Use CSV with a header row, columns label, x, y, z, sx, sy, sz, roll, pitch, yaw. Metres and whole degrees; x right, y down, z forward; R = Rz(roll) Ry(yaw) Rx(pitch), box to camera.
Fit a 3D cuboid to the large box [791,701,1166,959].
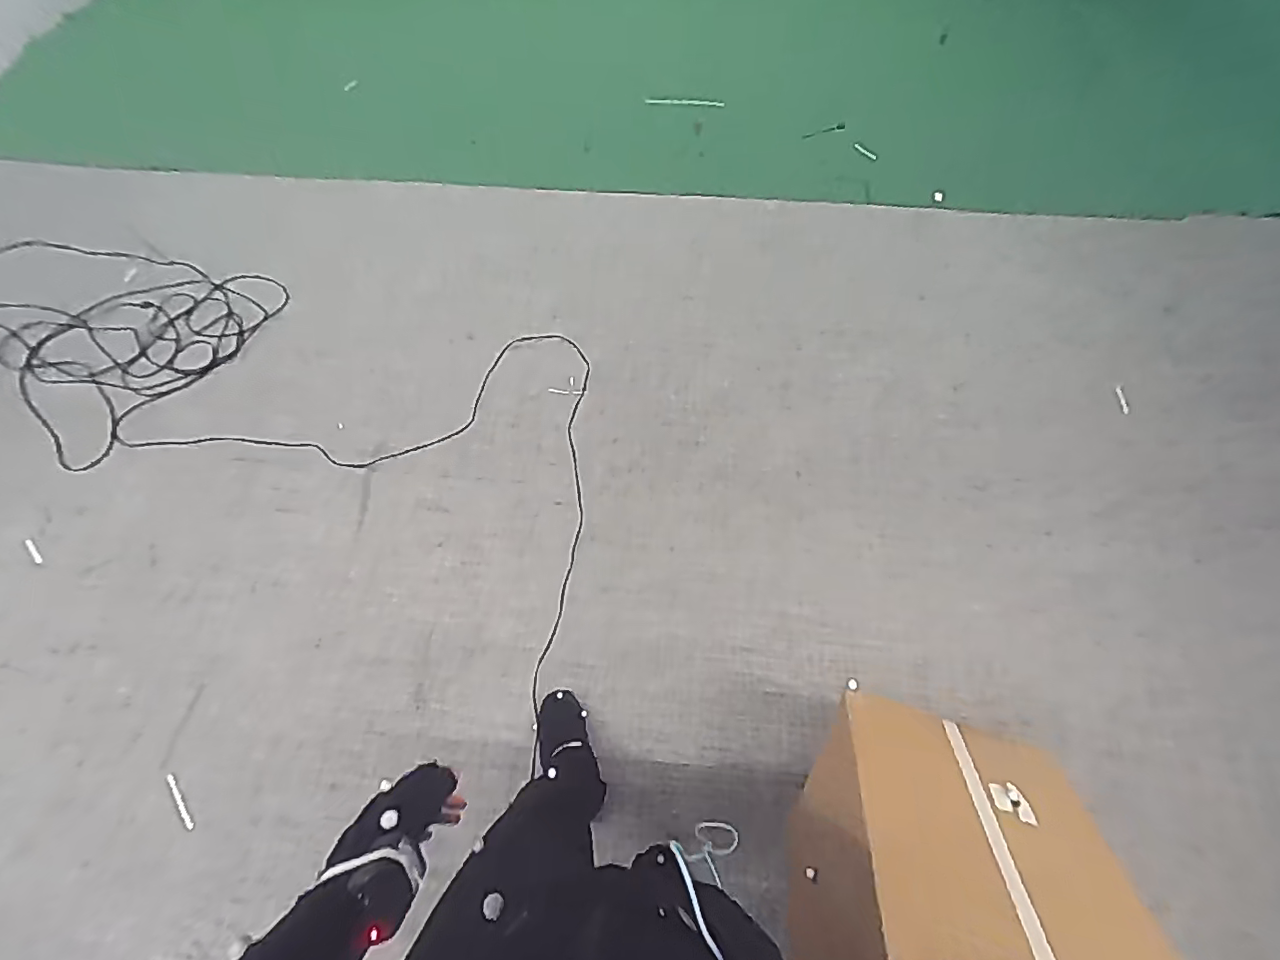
label,x,y,z,sx,sy,sz,roll,pitch,yaw
large box,0.395,0.585,0.705,0.320,0.408,0.320,17,109,9
